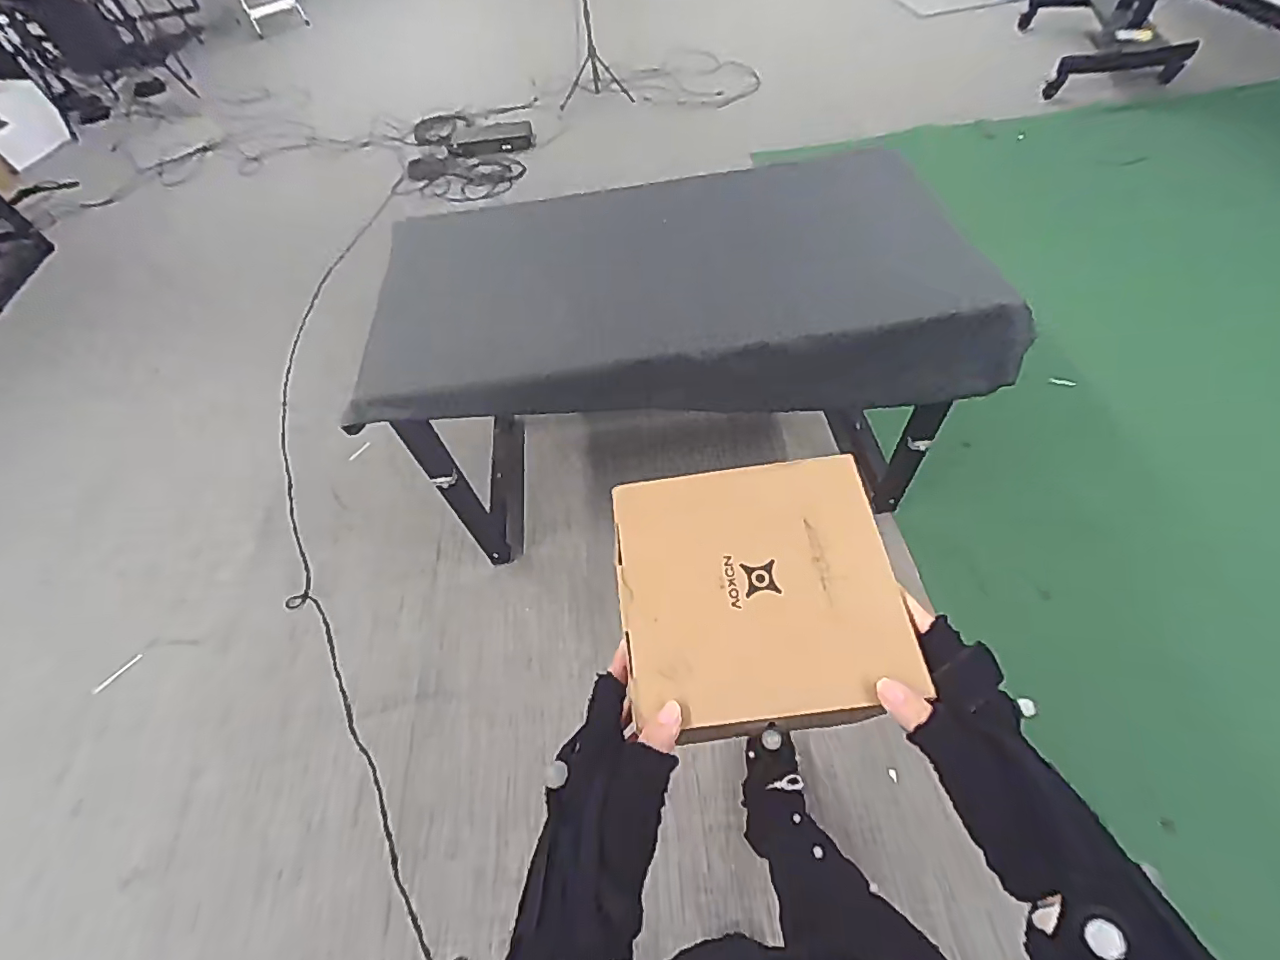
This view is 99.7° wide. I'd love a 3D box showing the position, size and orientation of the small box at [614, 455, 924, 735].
[{"bbox_3d":[0.081,0.101,0.429,0.179,0.176,0.168,-8,63,-1],"label":"small box"}]
